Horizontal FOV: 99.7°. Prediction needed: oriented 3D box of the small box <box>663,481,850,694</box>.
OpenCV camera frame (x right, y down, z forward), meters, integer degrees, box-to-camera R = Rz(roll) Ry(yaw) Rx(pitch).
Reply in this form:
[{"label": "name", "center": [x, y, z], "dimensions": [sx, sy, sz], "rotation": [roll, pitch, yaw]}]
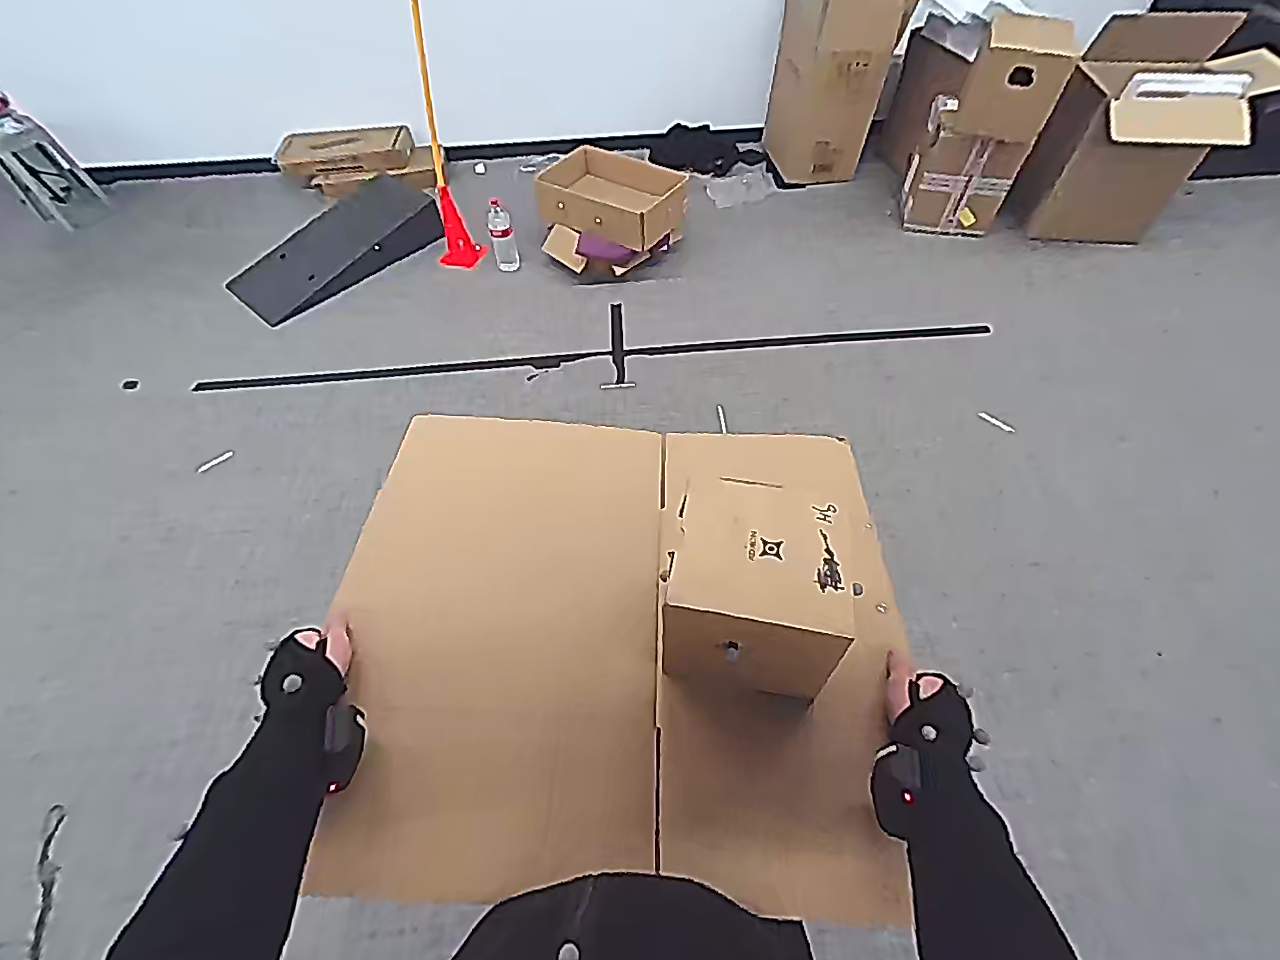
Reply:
[{"label": "small box", "center": [0.127, 0.125, 0.613], "dimensions": [0.179, 0.176, 0.168], "rotation": [7, 51, 9]}]
